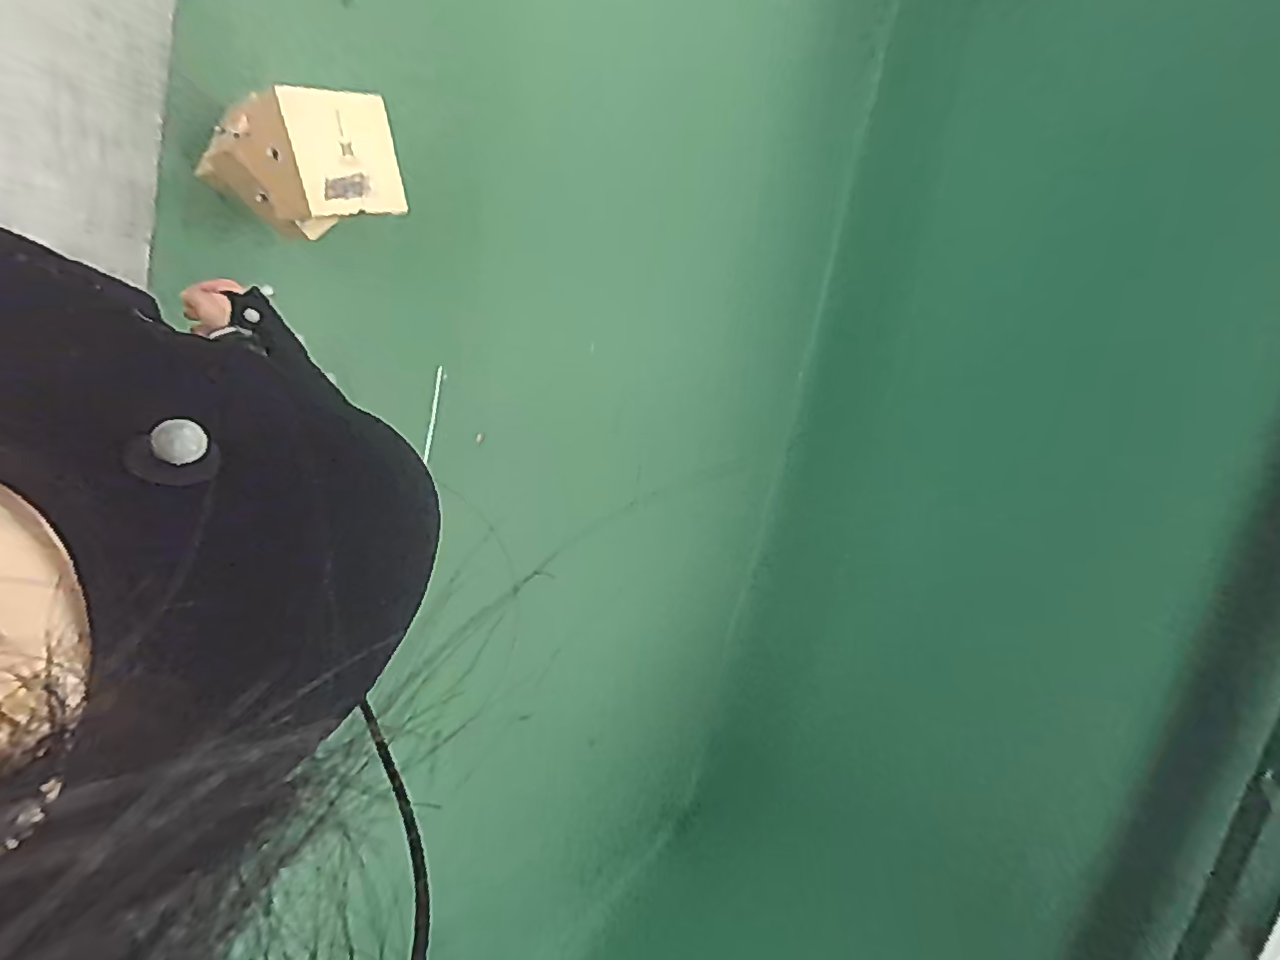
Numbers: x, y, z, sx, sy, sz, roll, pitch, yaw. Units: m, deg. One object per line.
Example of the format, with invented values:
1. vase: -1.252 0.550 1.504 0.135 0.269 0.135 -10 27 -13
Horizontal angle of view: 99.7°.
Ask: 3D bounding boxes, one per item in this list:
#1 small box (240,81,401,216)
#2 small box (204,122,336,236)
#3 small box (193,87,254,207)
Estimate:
1. small box: -0.538 -0.547 0.917 0.168 0.176 0.179 -28 125 -41
2. small box: -0.664 -0.582 1.017 0.168 0.176 0.179 -53 140 -20
3. small box: -0.775 -0.655 1.115 0.179 0.176 0.168 29 83 -53
